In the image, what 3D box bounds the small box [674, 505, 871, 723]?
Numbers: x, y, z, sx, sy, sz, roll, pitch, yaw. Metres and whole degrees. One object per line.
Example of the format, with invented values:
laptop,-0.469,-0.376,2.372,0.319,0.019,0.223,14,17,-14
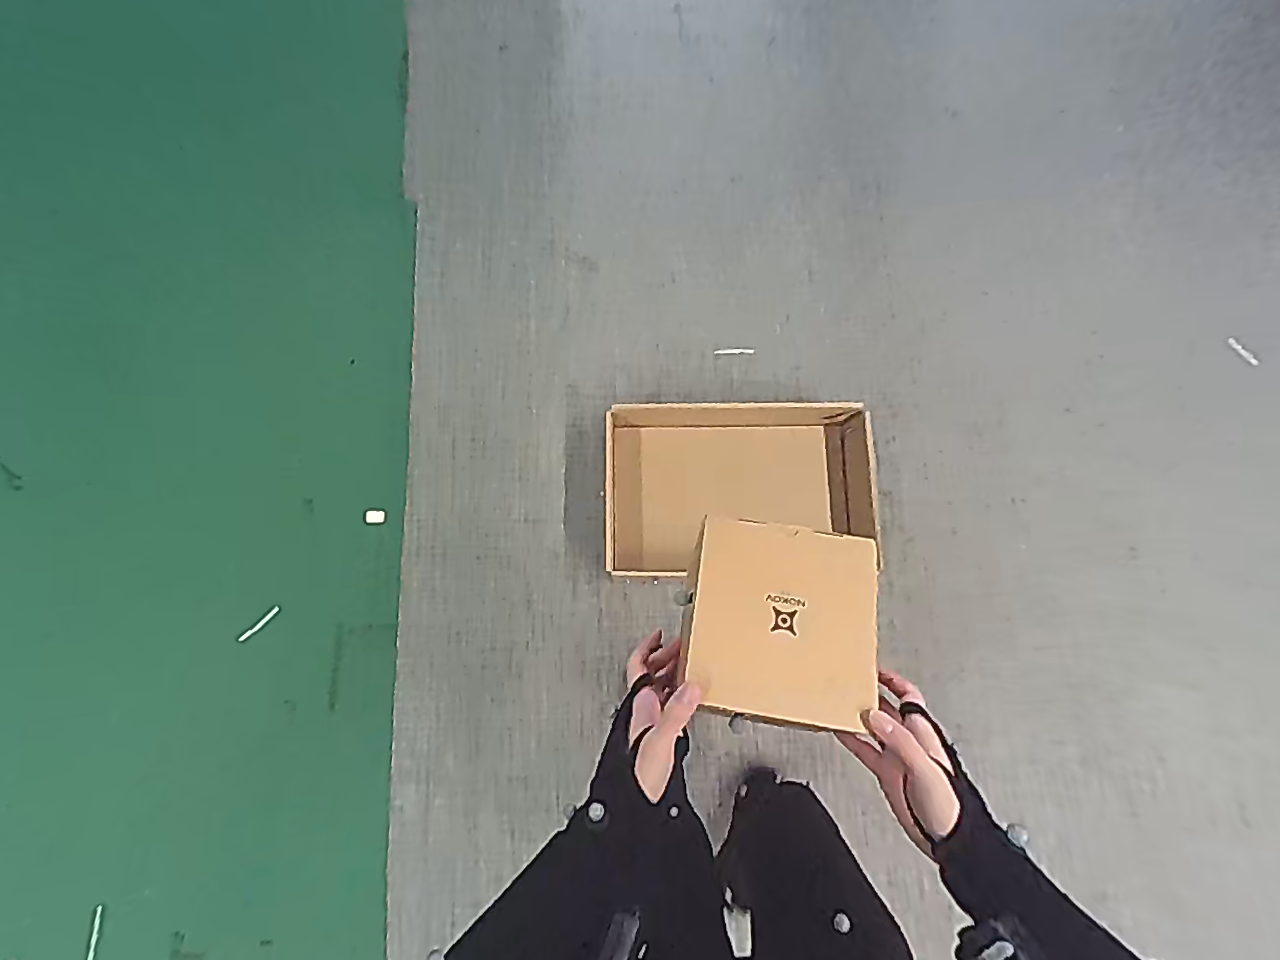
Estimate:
small box,0.128,0.147,0.564,0.168,0.176,0.179,8,64,4
